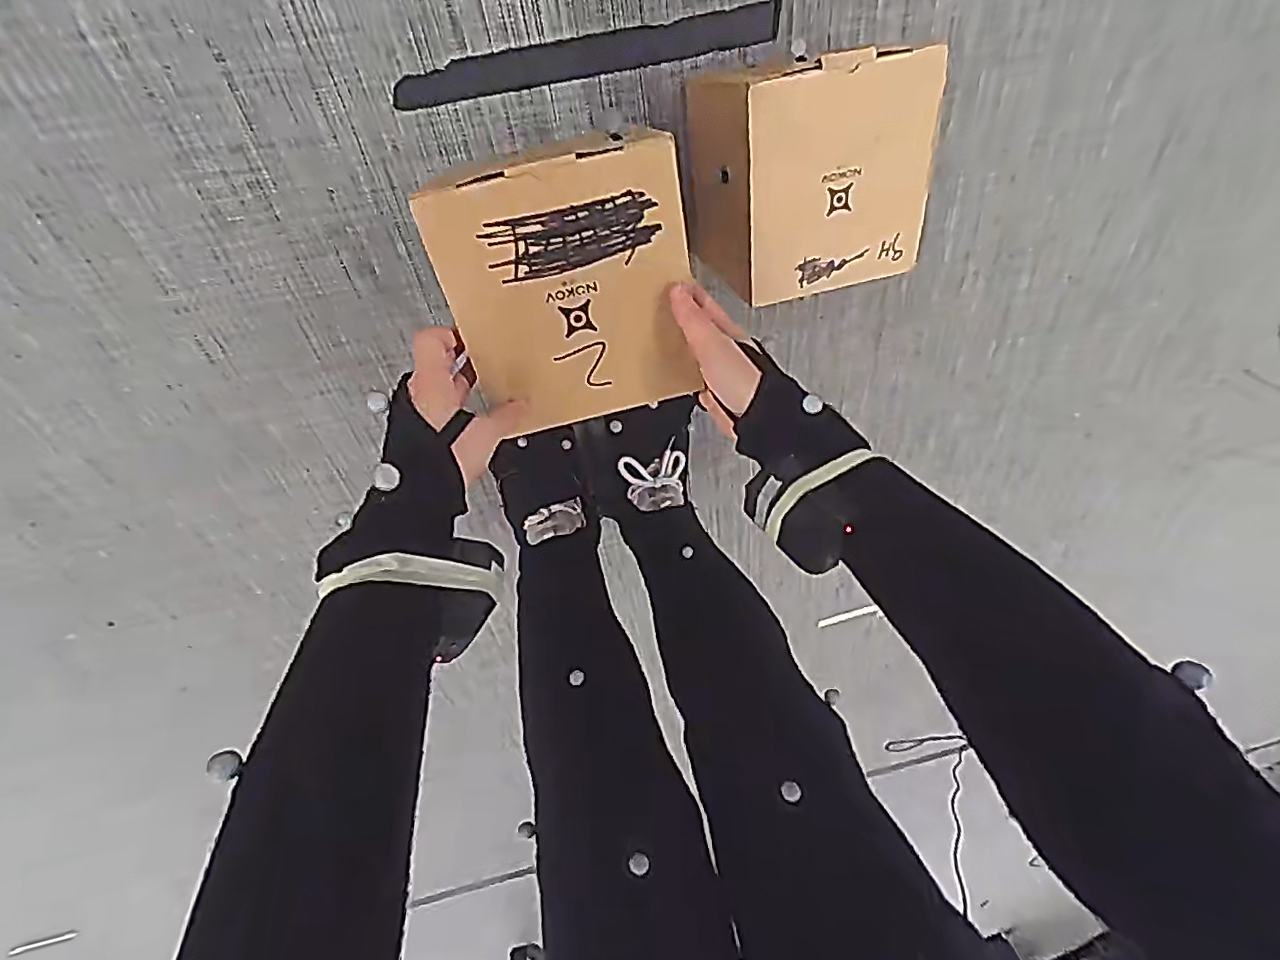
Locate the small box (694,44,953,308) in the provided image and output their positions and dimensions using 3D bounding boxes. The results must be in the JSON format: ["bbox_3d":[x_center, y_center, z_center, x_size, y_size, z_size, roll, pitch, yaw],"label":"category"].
[{"bbox_3d":[0.156,-0.290,0.519,0.168,0.176,0.179,-14,128,-5],"label":"small box"}]
